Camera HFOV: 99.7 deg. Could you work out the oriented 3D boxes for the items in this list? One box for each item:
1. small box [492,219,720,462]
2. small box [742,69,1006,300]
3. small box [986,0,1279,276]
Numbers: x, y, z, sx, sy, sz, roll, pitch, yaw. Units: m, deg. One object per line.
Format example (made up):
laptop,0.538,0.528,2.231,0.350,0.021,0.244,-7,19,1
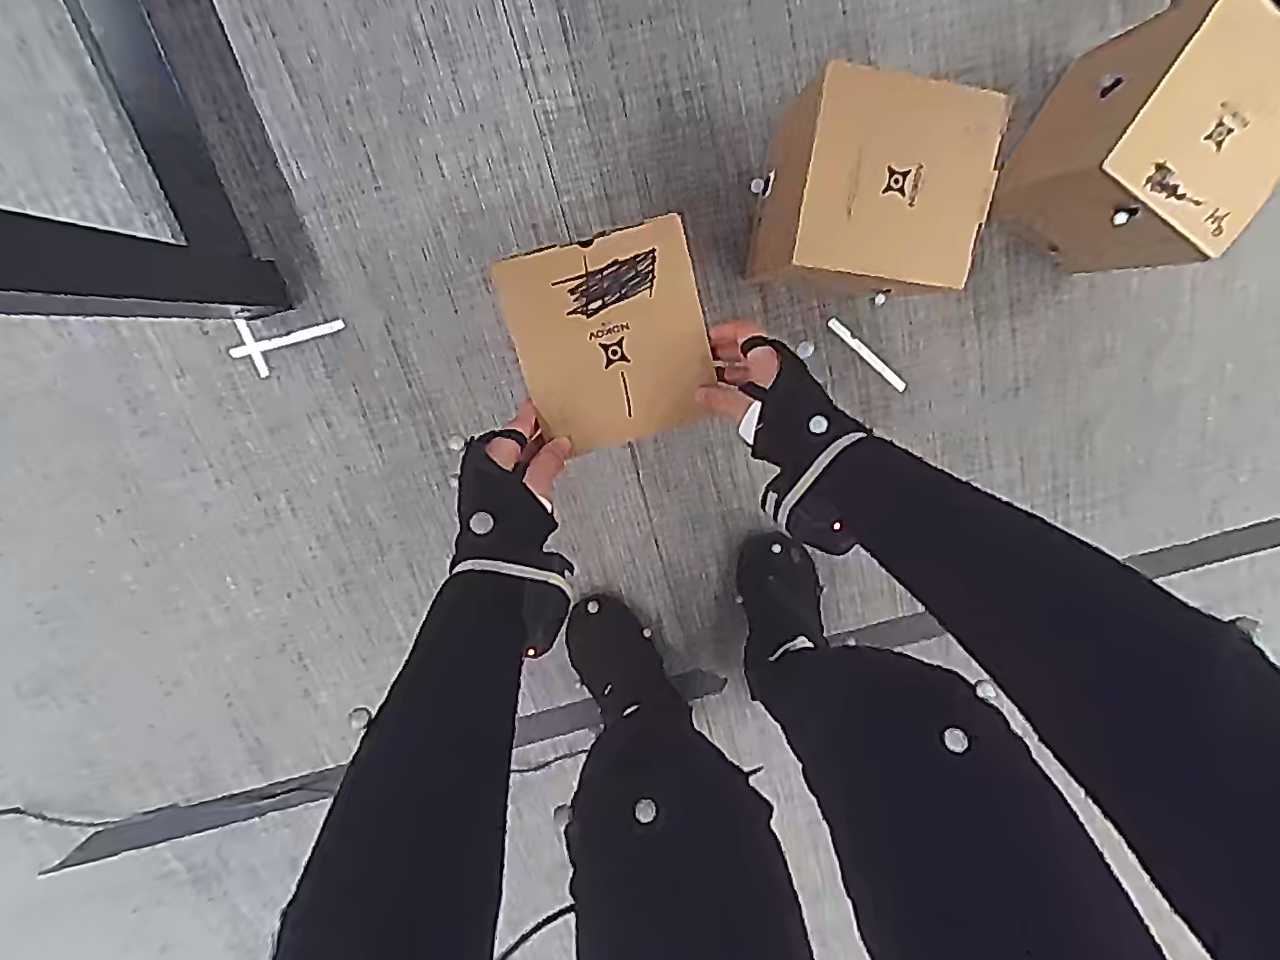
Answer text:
small box,-0.036,-0.134,0.545,0.168,0.176,0.179,-16,105,-3
small box,0.223,-0.285,0.565,0.179,0.176,0.168,5,104,-5
small box,0.521,-0.341,0.572,0.168,0.176,0.179,27,101,-11
